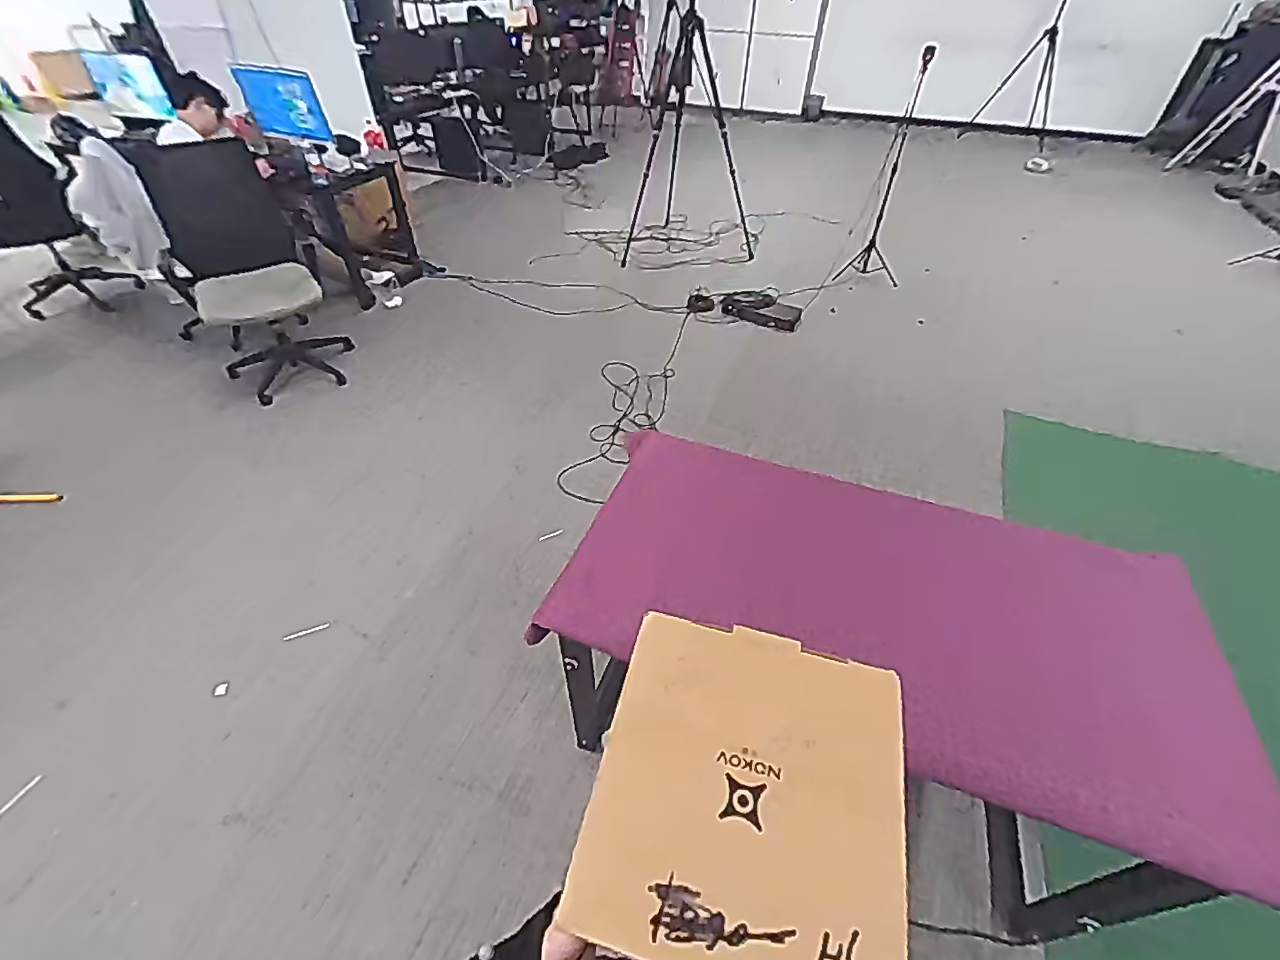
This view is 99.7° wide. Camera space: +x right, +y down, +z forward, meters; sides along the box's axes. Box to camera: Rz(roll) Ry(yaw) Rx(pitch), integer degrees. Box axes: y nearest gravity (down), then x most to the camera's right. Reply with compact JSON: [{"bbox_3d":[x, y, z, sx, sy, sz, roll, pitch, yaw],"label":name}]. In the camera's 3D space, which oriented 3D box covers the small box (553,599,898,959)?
[{"bbox_3d":[0.059,0.211,0.361,0.168,0.176,0.179,11,51,12],"label":"small box"}]
